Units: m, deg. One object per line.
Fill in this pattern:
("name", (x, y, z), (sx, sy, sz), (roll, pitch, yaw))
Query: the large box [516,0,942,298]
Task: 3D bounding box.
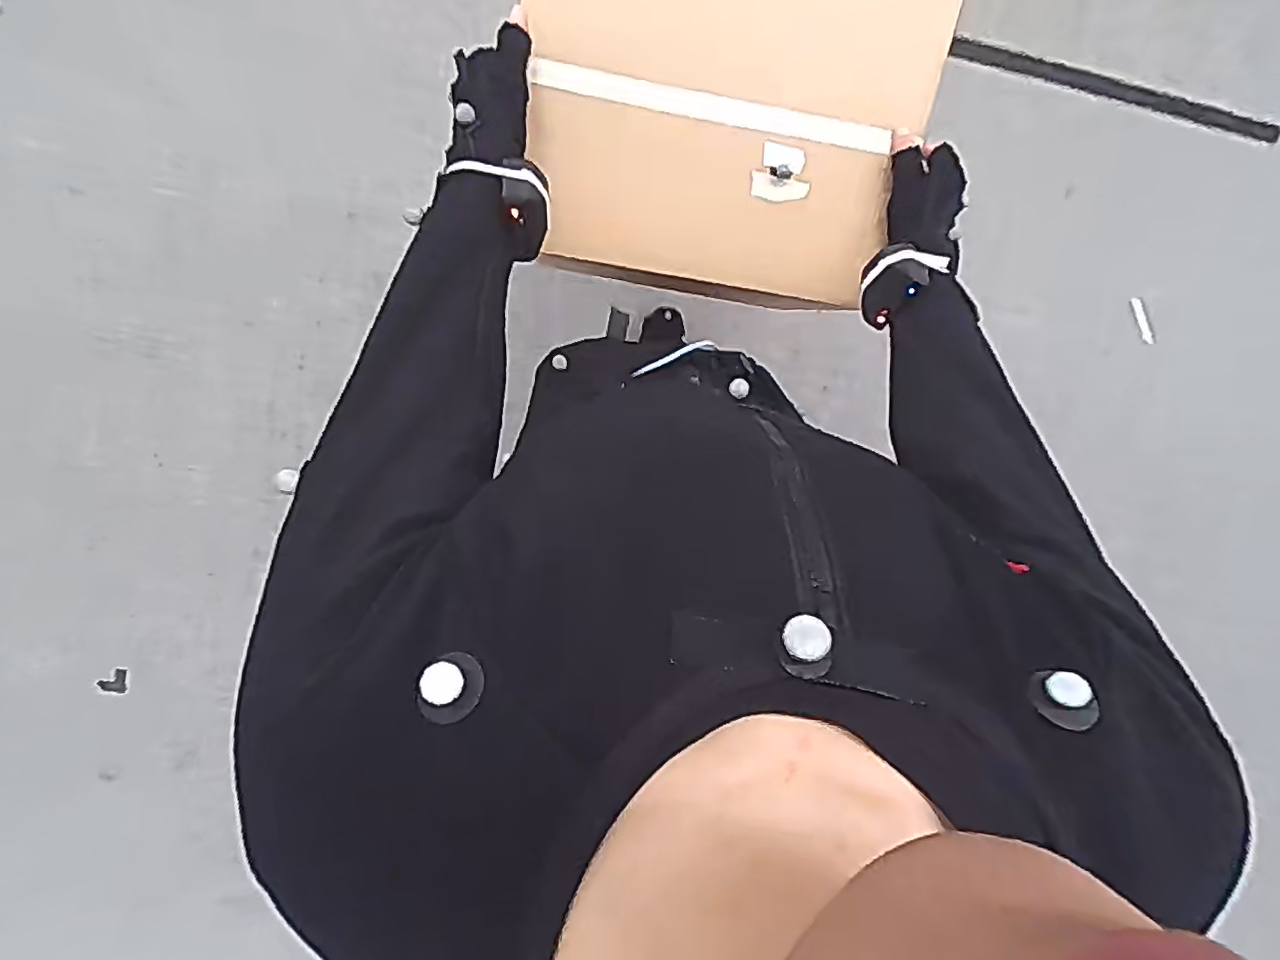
("large box", (0.072, -0.420, 0.686), (0.408, 0.320, 0.320), (7, 108, -6))
